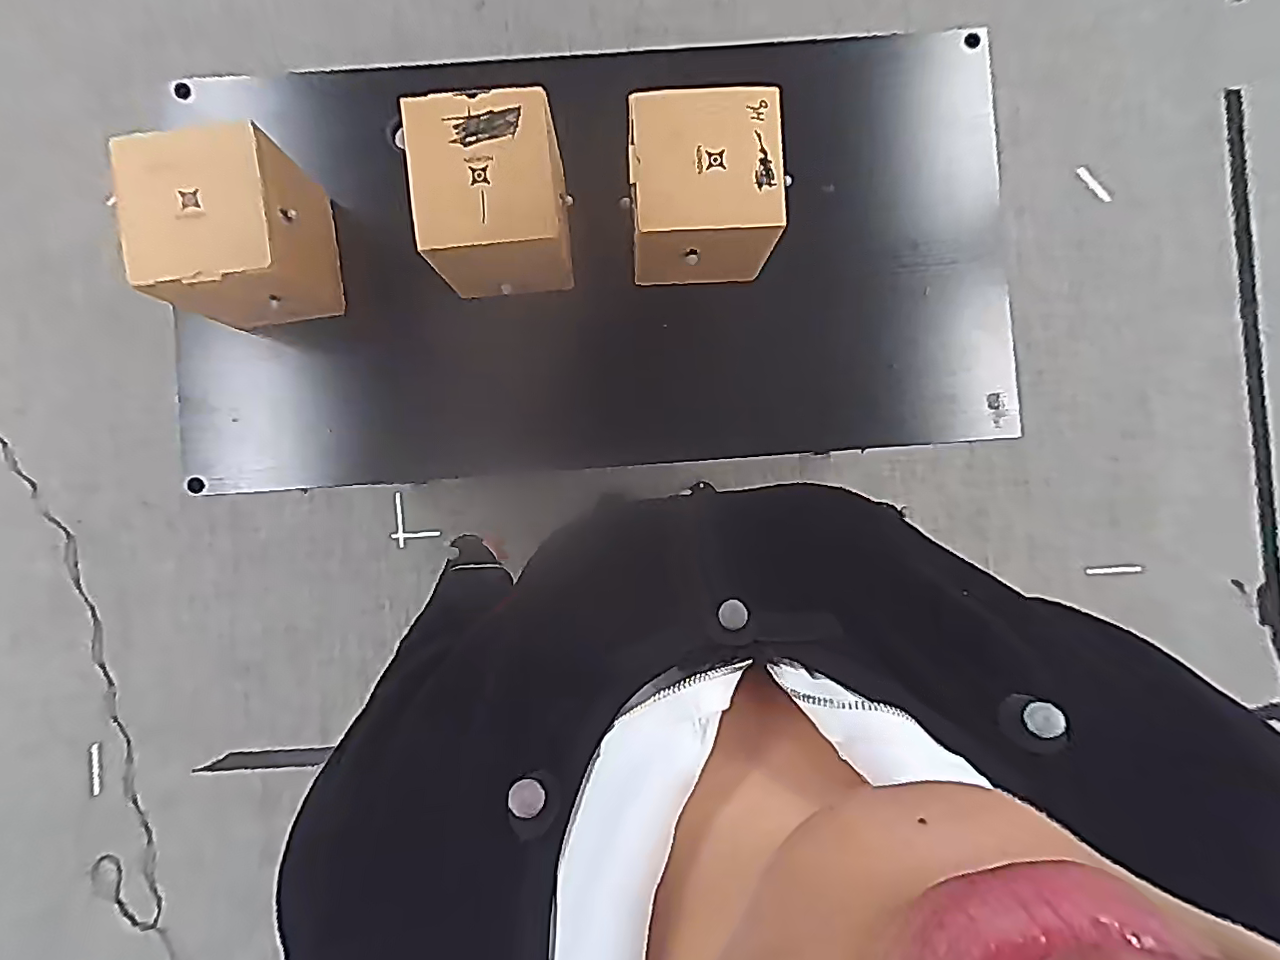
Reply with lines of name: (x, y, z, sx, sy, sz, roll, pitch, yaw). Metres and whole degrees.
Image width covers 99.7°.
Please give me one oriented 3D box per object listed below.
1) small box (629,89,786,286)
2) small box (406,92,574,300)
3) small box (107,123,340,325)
small box: (0.079, -0.362, 0.699, 0.179, 0.176, 0.168, -3, 89, 0)
small box: (-0.180, -0.350, 0.695, 0.168, 0.176, 0.179, -6, 90, -1)
small box: (-0.511, -0.308, 0.690, 0.168, 0.176, 0.179, -8, 89, -2)
